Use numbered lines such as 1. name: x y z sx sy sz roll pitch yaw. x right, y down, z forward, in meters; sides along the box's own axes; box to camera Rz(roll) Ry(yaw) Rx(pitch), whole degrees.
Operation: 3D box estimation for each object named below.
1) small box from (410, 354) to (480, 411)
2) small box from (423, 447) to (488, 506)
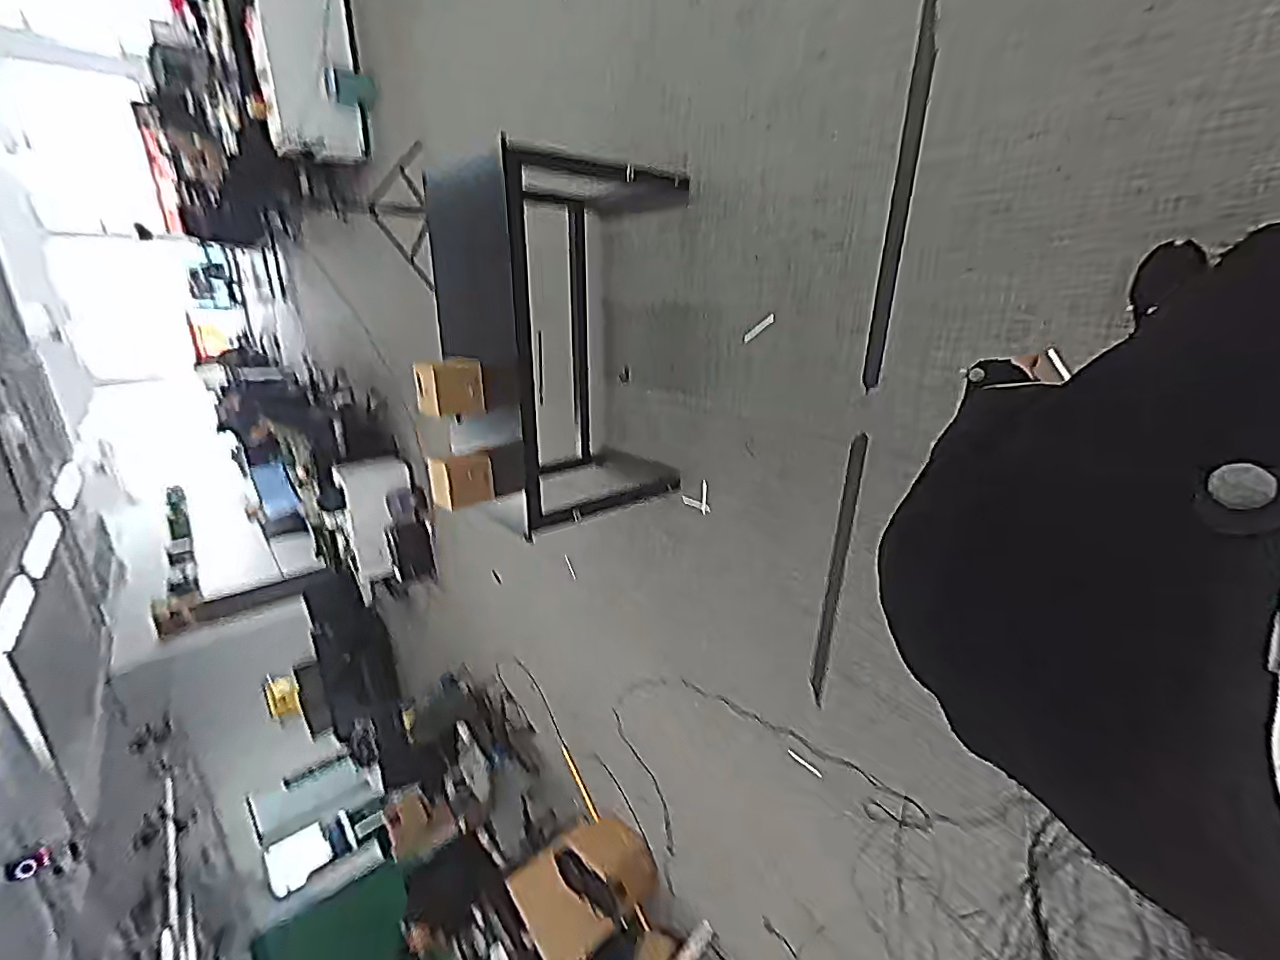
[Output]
1. small box: -0.667 -0.338 1.852 0.179 0.176 0.168 20 117 45
2. small box: -0.659 -0.021 1.951 0.179 0.176 0.168 17 114 48
